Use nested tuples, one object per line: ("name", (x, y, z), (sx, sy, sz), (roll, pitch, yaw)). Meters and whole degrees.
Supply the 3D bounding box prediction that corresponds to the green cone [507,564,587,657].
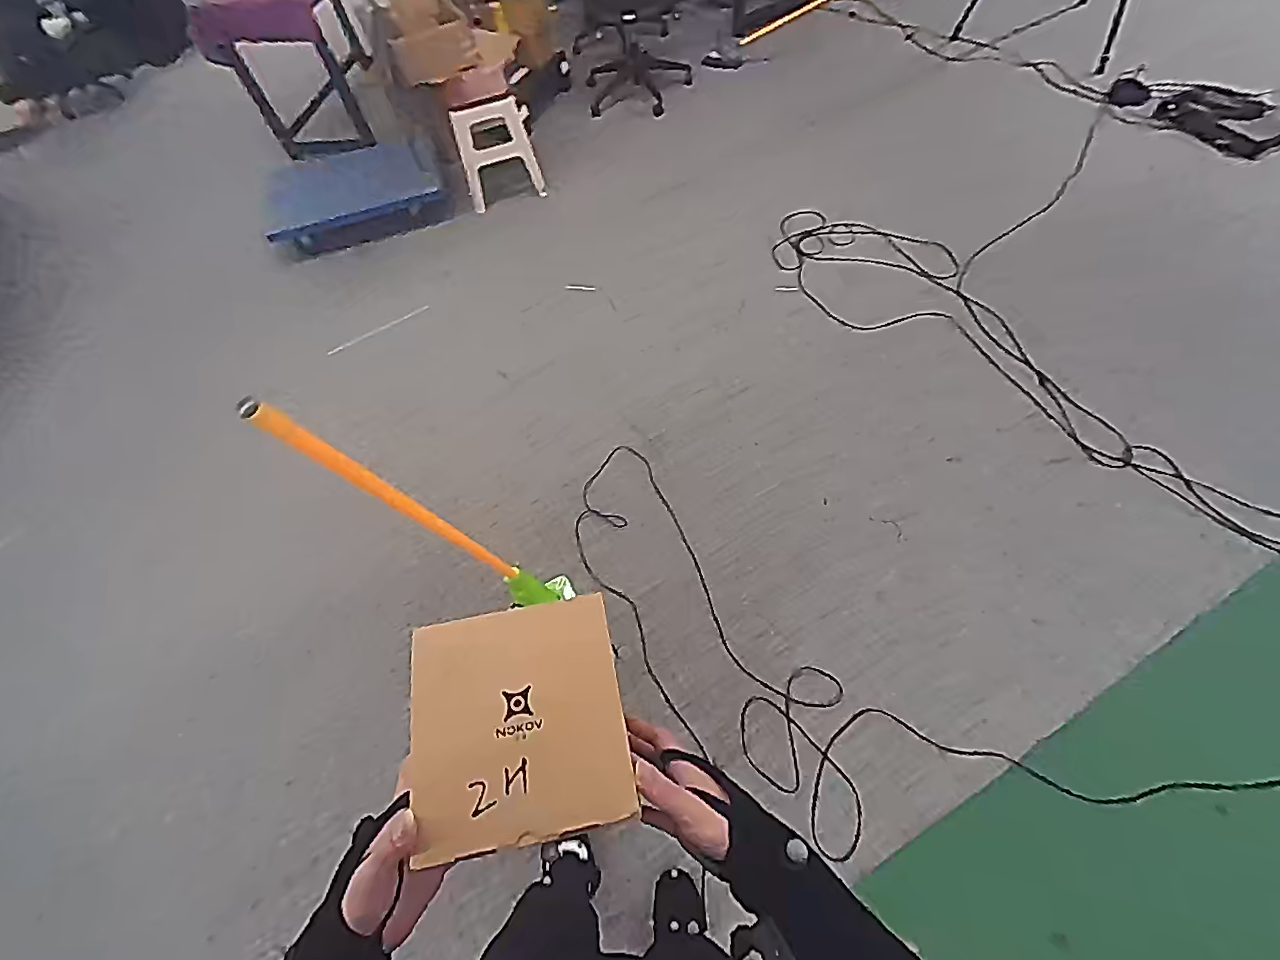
("green cone", (-0.296, 0.321, 1.483), (0.202, 0.368, 0.200), (-27, 61, -10))
